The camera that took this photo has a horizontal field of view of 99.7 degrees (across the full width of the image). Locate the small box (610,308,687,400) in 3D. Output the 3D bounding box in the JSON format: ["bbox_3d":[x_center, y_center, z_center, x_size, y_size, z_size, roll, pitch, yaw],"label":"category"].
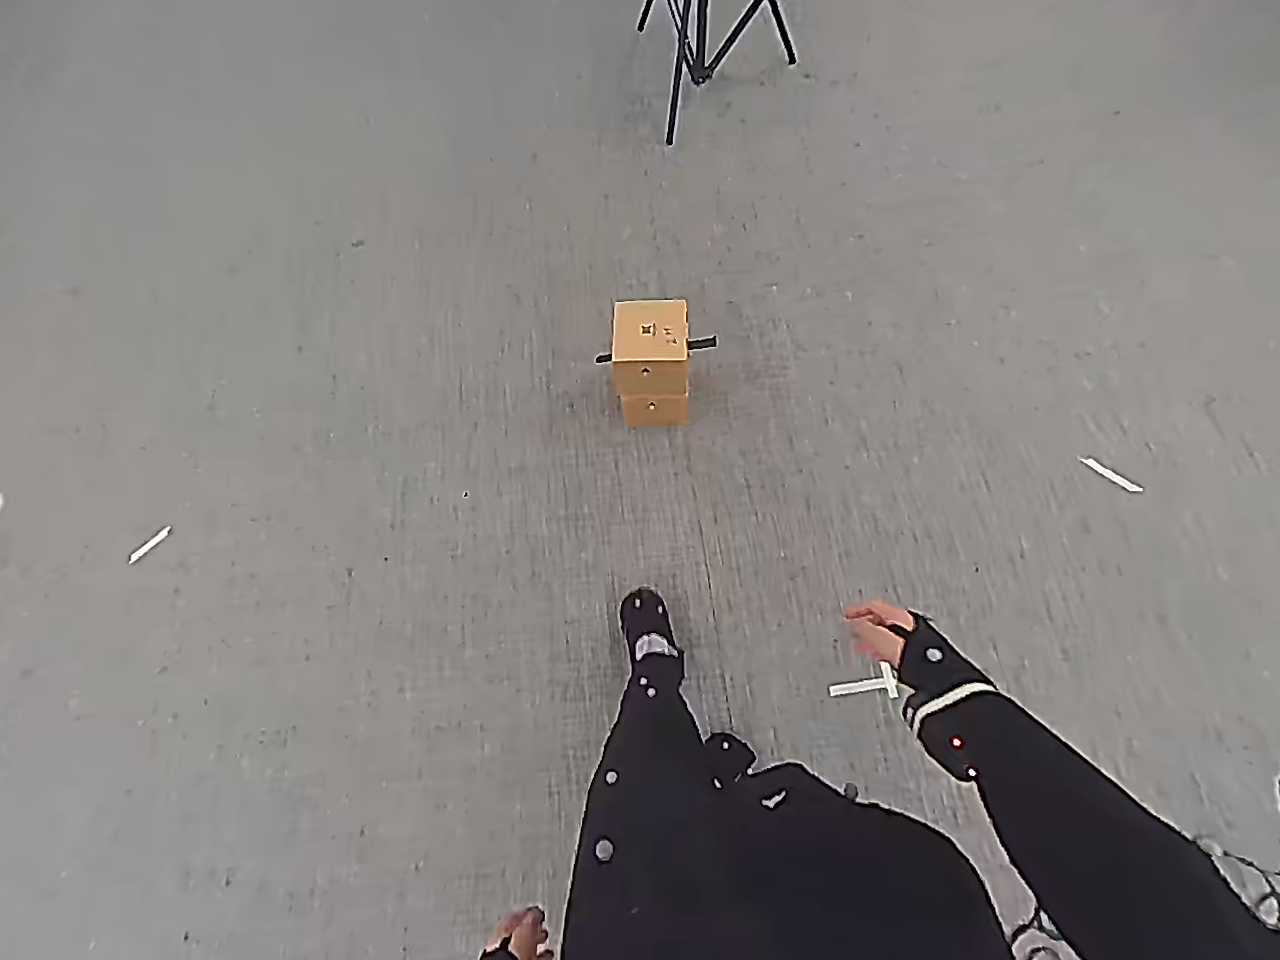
[{"bbox_3d":[0.027,-0.307,1.342,0.179,0.176,0.168,1,72,4],"label":"small box"}]

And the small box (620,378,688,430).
[{"bbox_3d":[0.039,-0.247,1.494,0.179,0.176,0.168,-2,71,3],"label":"small box"}]
